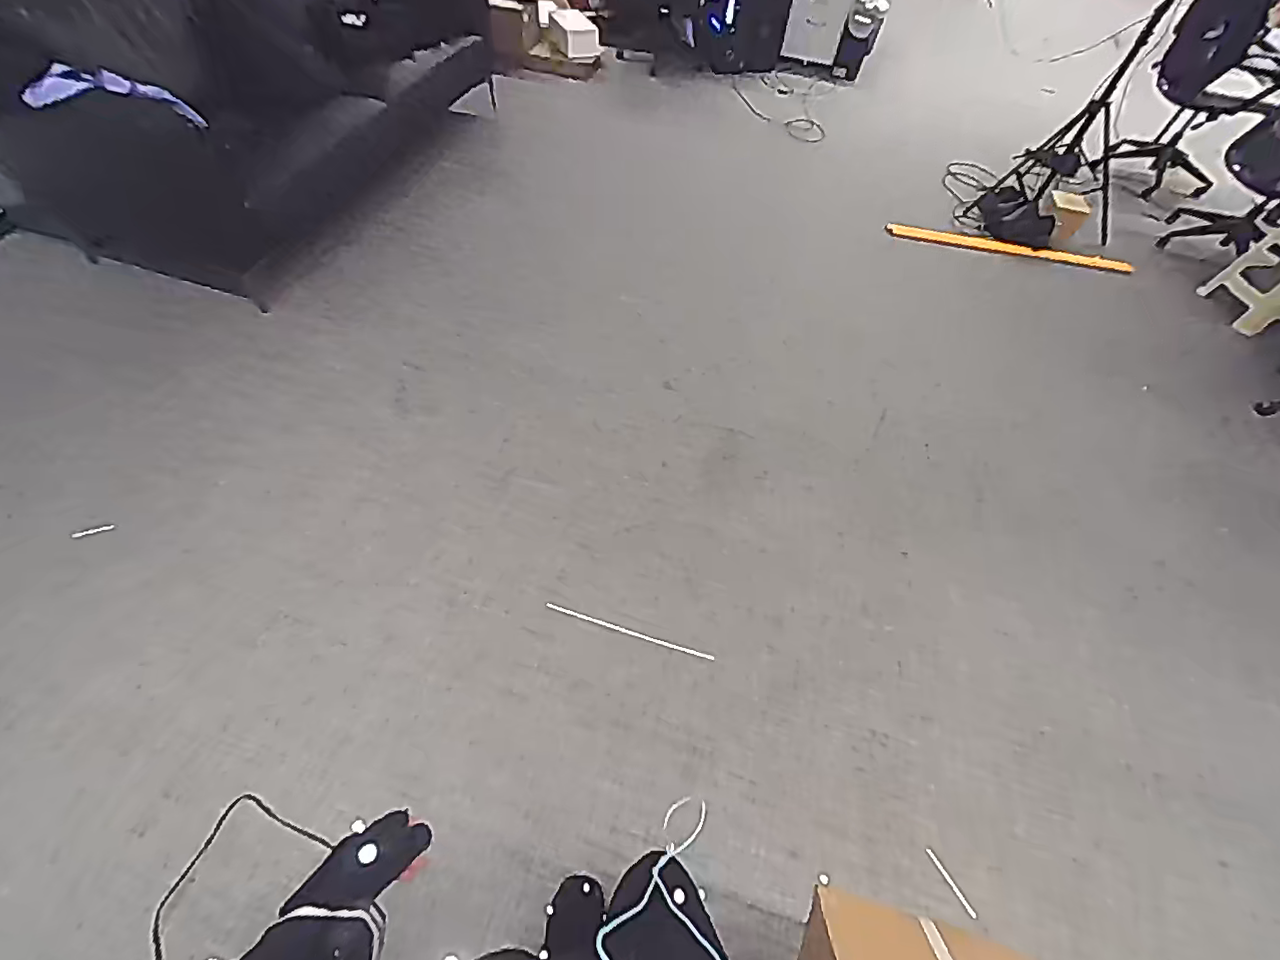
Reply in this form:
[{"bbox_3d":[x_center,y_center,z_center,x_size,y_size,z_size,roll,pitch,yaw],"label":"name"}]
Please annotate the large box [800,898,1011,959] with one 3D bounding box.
[{"bbox_3d":[0.353,0.810,0.606,0.320,0.408,0.320,15,91,7],"label":"large box"}]
